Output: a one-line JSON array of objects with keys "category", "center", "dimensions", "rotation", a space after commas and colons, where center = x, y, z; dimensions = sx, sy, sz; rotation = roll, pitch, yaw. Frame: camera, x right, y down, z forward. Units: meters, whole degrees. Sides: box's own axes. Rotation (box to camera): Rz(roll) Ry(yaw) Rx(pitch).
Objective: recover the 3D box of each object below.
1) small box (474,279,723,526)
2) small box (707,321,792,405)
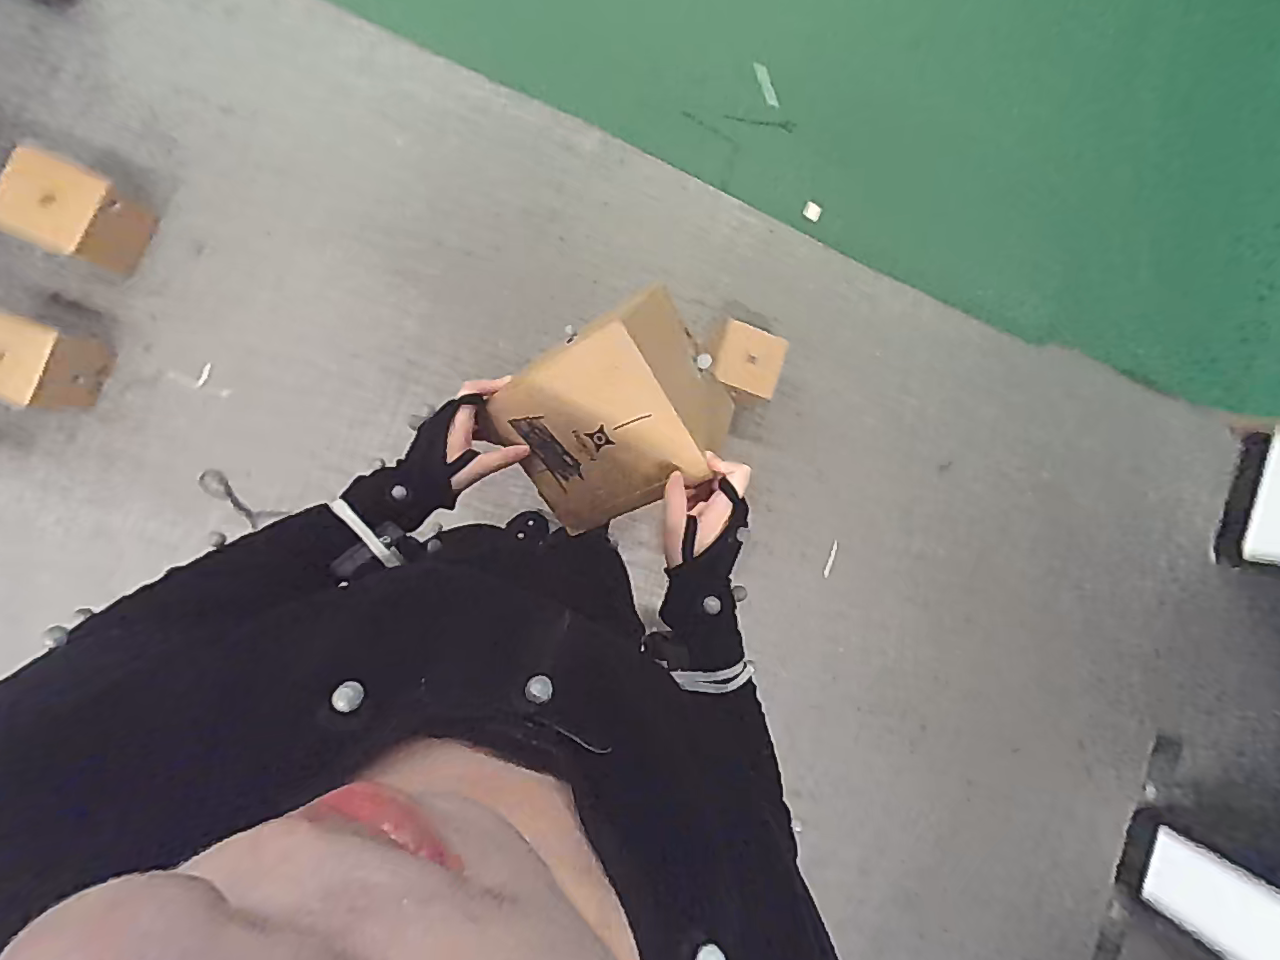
[{"category": "small box", "center": [-0.030, -0.085, 0.571], "dimensions": [0.179, 0.176, 0.168], "rotation": [-24, 111, 27]}, {"category": "small box", "center": [0.281, -0.312, 1.484], "dimensions": [0.179, 0.176, 0.168], "rotation": [19, 89, -12]}]
